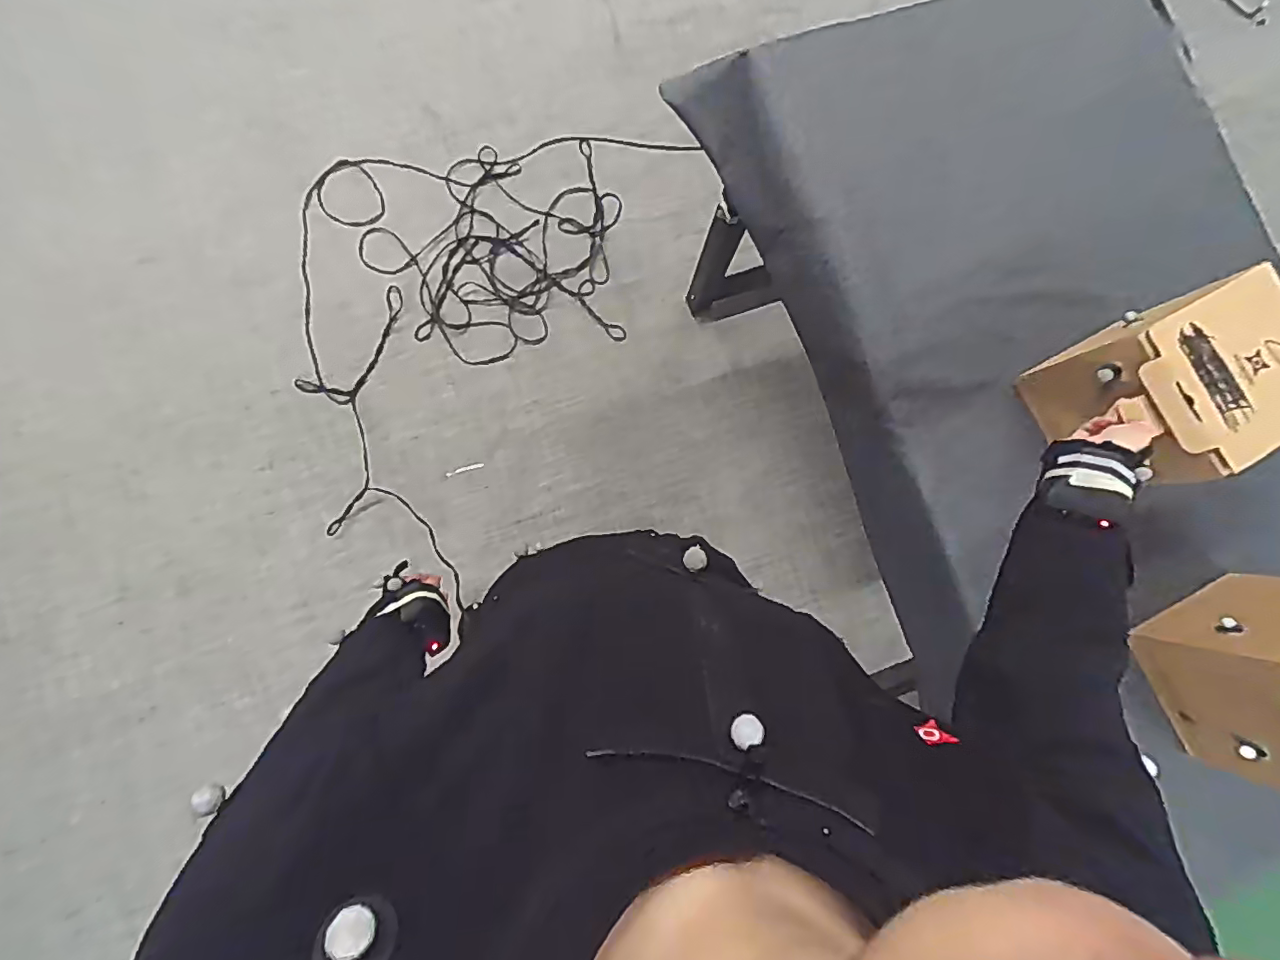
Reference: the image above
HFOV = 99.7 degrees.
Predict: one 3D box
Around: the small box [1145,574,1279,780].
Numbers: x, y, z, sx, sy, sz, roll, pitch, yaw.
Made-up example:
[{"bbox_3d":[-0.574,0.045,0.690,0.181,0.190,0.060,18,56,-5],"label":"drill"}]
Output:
[{"bbox_3d":[0.717,0.217,0.592,0.179,0.176,0.168,-26,88,-8],"label":"small box"}]
